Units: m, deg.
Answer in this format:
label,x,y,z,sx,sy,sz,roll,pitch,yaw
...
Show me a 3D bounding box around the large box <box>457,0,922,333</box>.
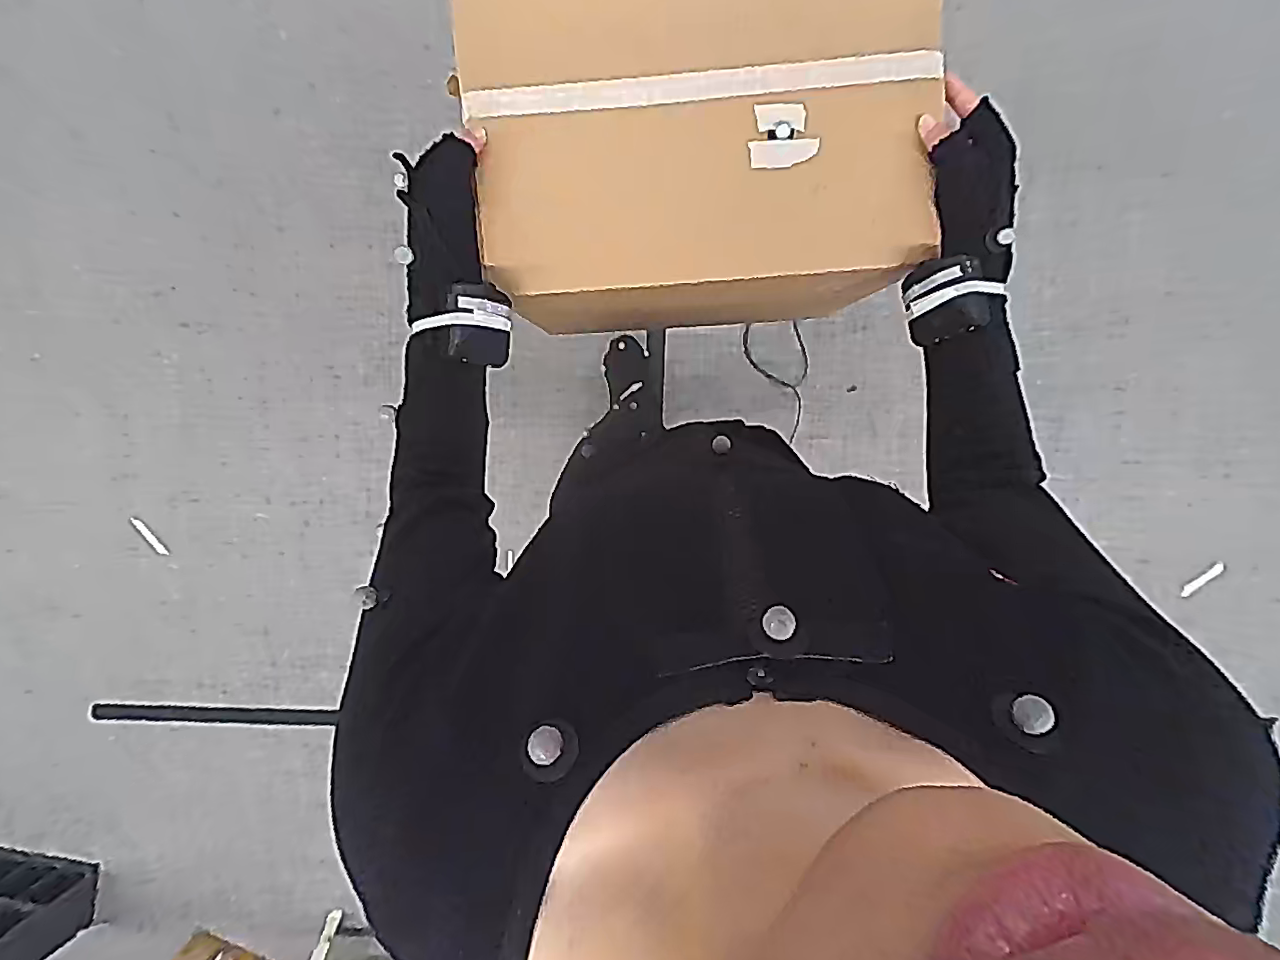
label,x,y,z,sx,sy,sz,roll,pitch,yaw
large box,0.047,-0.362,0.623,0.408,0.320,0.320,-4,99,1
